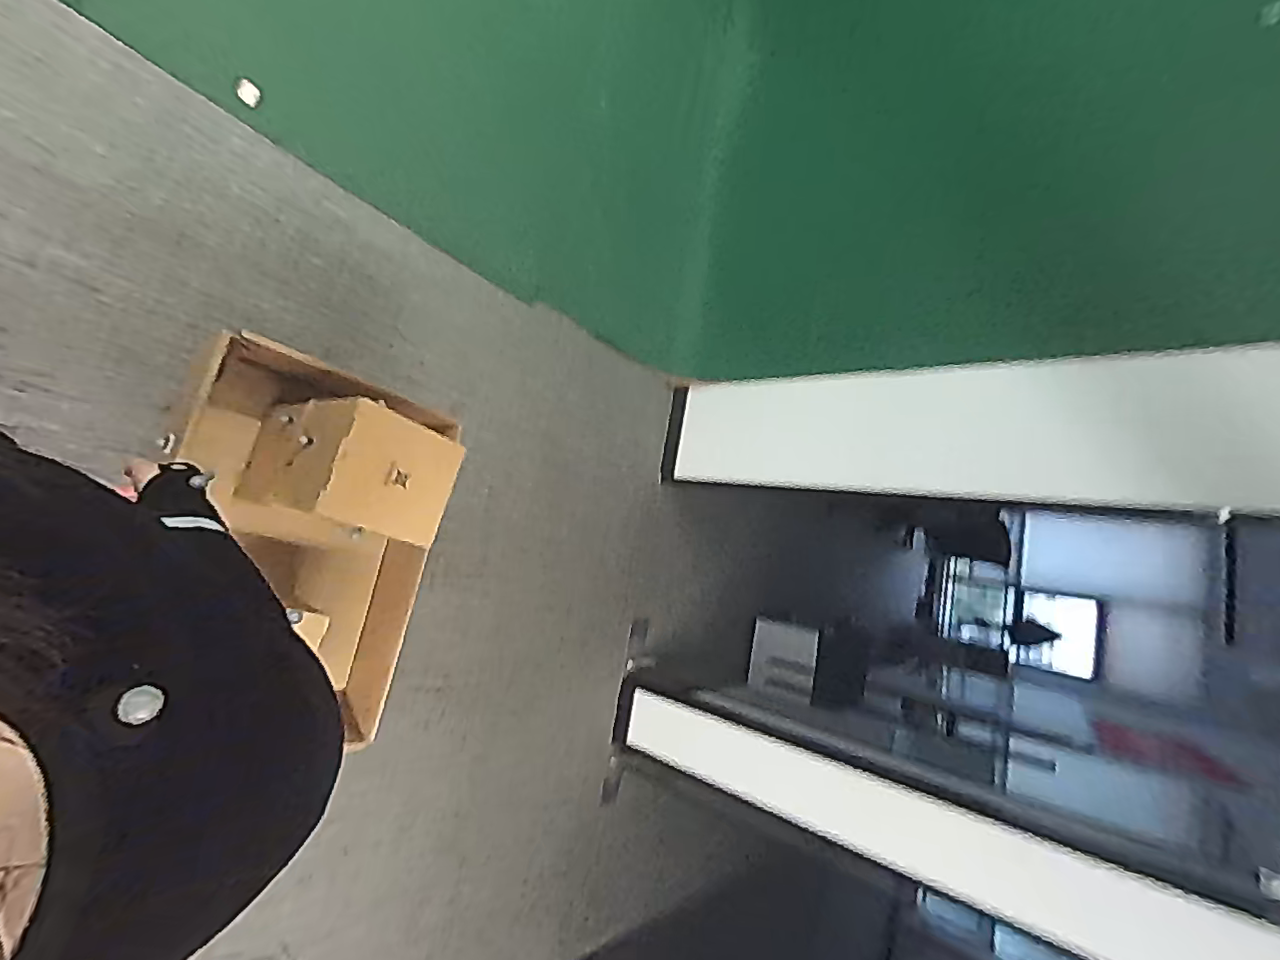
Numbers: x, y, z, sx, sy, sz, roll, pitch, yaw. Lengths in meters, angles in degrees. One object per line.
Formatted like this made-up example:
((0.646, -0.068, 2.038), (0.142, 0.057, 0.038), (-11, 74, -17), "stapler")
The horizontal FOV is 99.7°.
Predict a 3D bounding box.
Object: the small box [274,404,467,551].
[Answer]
((-0.403, -0.005, 0.815), (0.179, 0.176, 0.168), (32, 69, -48), "small box")
